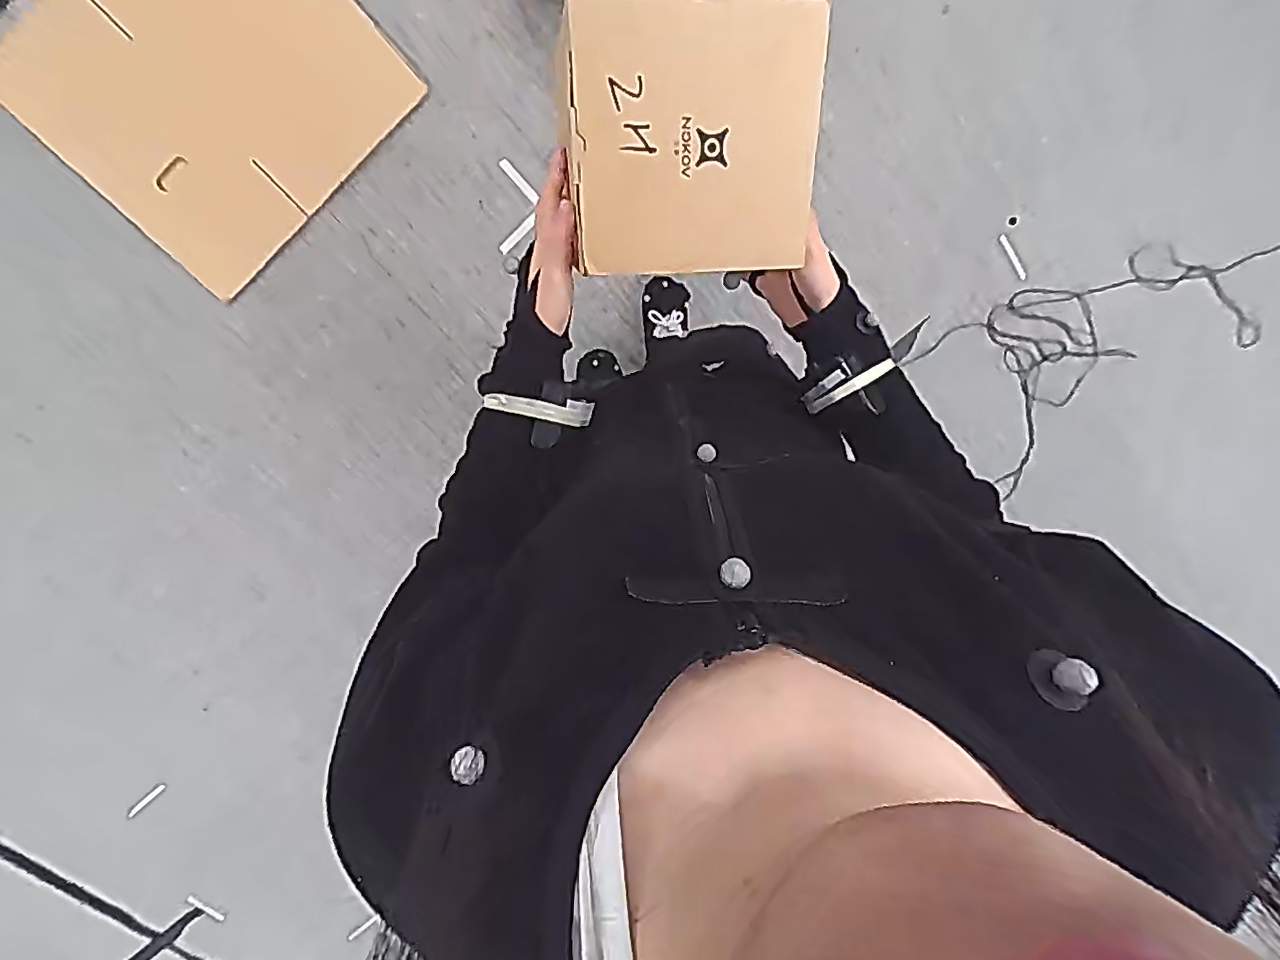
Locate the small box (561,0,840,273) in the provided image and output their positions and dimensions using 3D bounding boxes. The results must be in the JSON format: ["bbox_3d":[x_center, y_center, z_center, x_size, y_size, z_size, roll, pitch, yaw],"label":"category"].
[{"bbox_3d":[0.032,-0.265,0.444,0.179,0.176,0.168,-5,115,-9],"label":"small box"}]
